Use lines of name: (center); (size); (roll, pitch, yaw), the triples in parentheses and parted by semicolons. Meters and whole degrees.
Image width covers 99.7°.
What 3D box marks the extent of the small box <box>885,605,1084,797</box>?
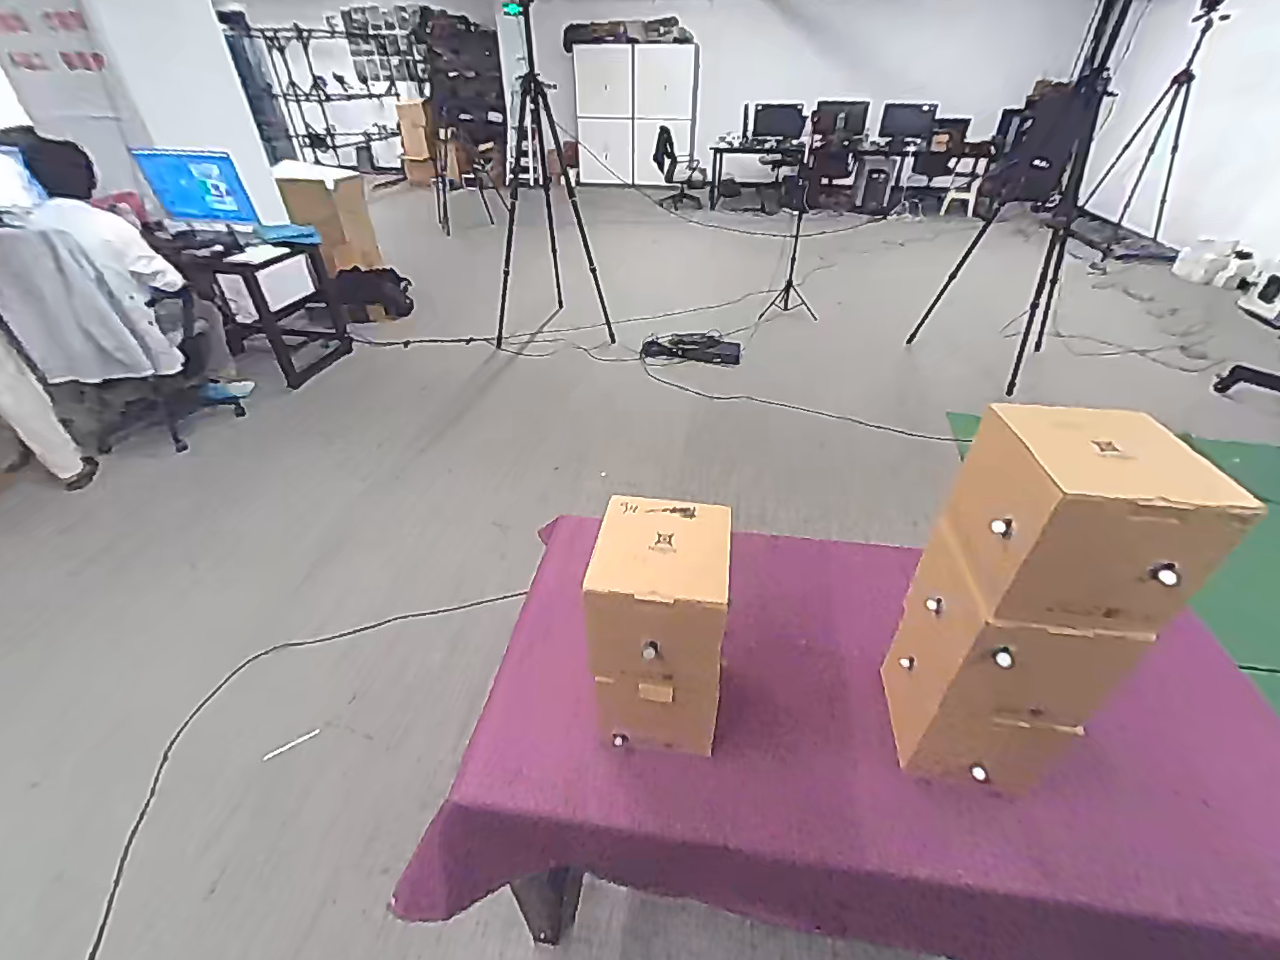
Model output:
small box: (0.462, 0.307, 0.763); (0.168, 0.176, 0.179); (5, 37, 9)

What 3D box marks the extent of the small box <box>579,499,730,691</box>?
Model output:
small box: (0.026, 0.150, 0.709); (0.168, 0.176, 0.179); (6, 38, 7)

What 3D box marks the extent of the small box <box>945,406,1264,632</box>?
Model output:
small box: (0.458, 0.039, 0.575); (0.168, 0.176, 0.179); (5, 36, 6)

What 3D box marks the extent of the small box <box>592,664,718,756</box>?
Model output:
small box: (0.031, 0.283, 0.805); (0.168, 0.176, 0.179); (4, 36, 6)
